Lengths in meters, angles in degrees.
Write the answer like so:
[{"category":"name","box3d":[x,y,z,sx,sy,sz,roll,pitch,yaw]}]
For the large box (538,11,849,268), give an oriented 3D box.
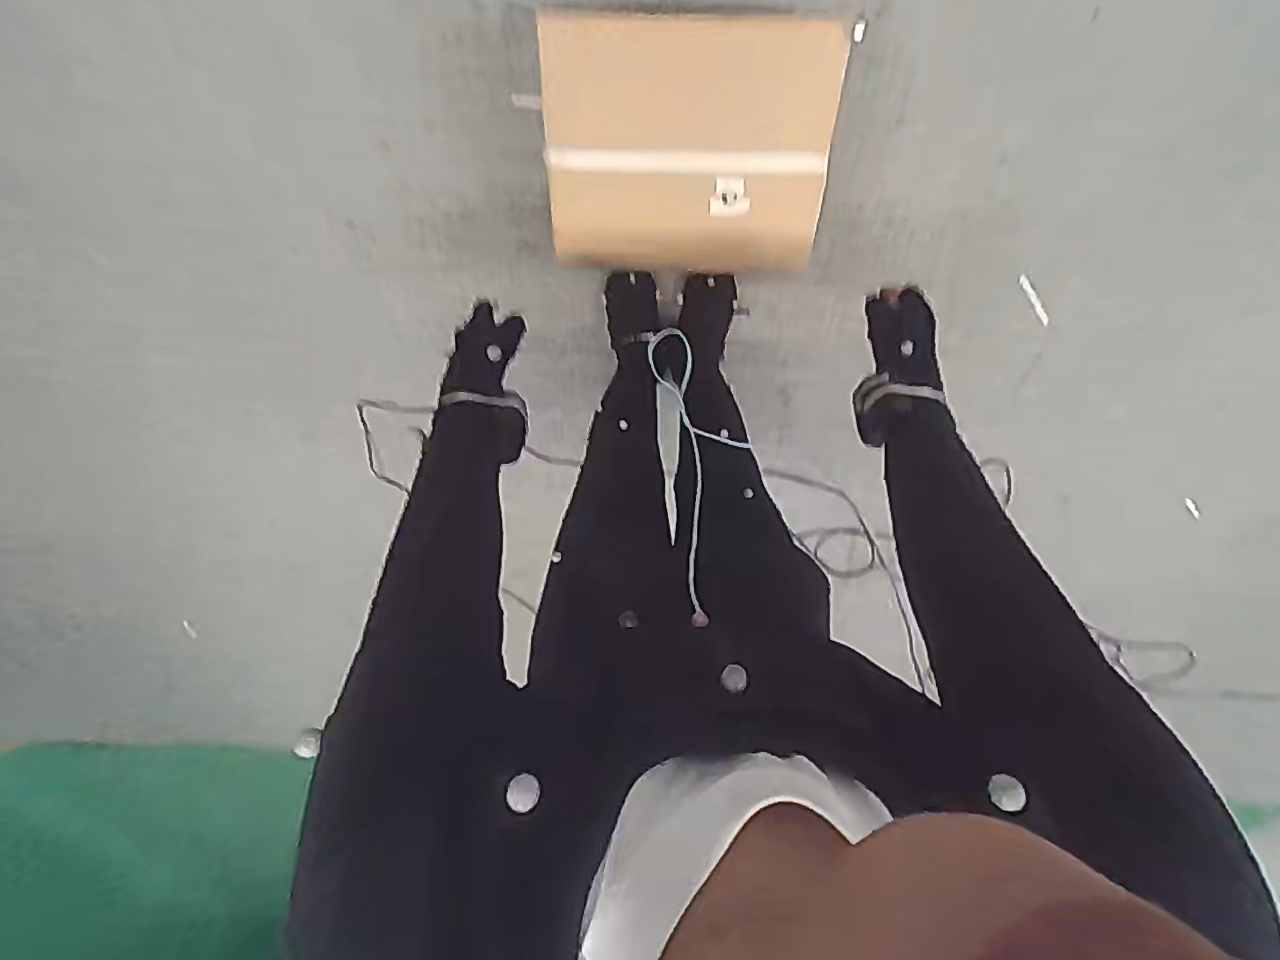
[{"category":"large box","box3d":[0.069,-0.551,0.894,0.408,0.320,0.320,2,127,1]}]
